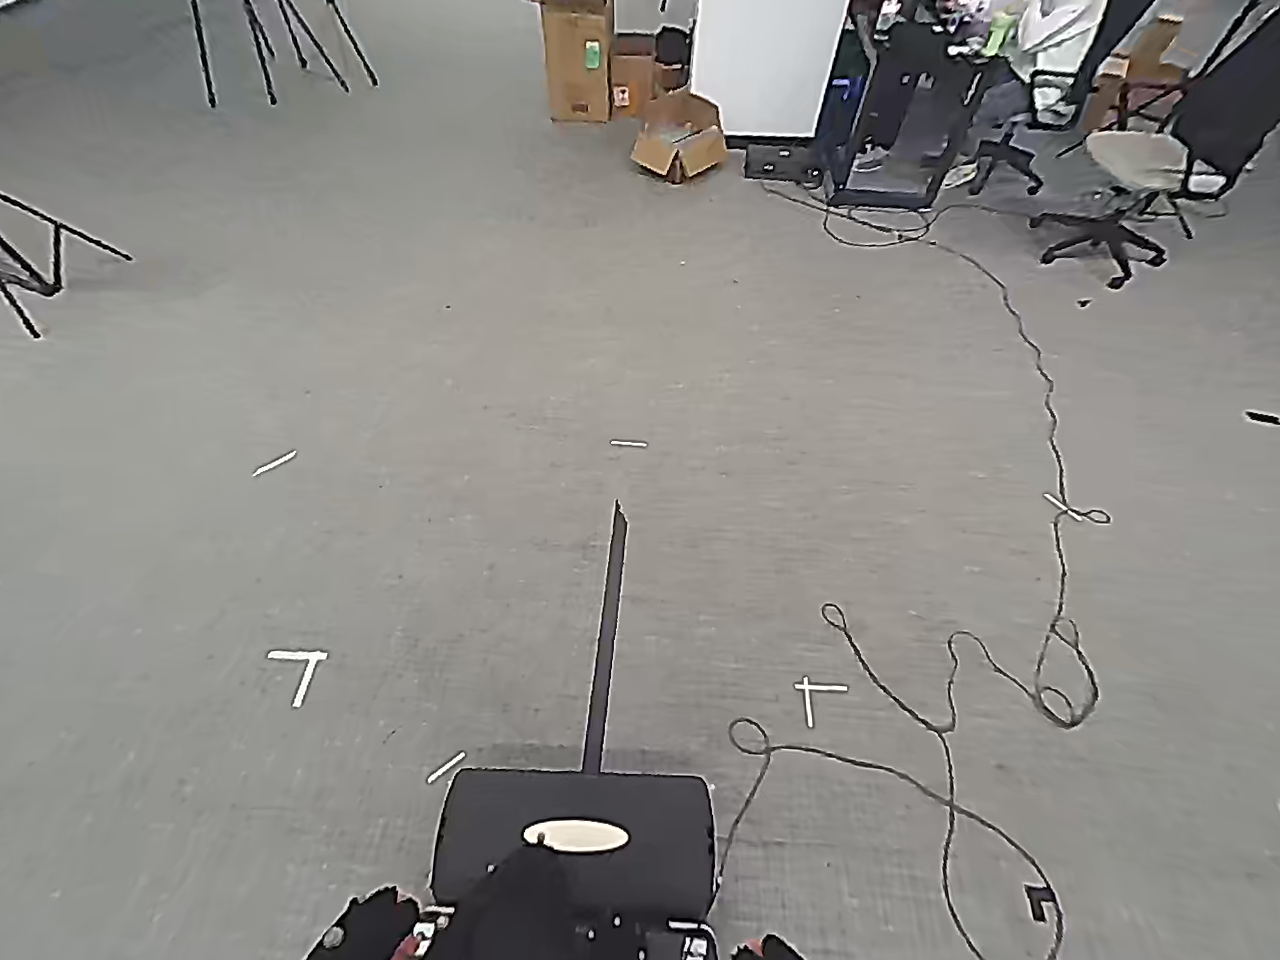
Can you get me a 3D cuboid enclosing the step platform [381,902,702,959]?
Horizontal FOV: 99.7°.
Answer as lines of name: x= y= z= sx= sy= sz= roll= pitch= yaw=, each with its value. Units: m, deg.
step platform: x=-0.204 y=1.082 z=1.127 sx=0.684 sy=0.204 sz=0.286 roll=2 pitch=55 yaw=2
